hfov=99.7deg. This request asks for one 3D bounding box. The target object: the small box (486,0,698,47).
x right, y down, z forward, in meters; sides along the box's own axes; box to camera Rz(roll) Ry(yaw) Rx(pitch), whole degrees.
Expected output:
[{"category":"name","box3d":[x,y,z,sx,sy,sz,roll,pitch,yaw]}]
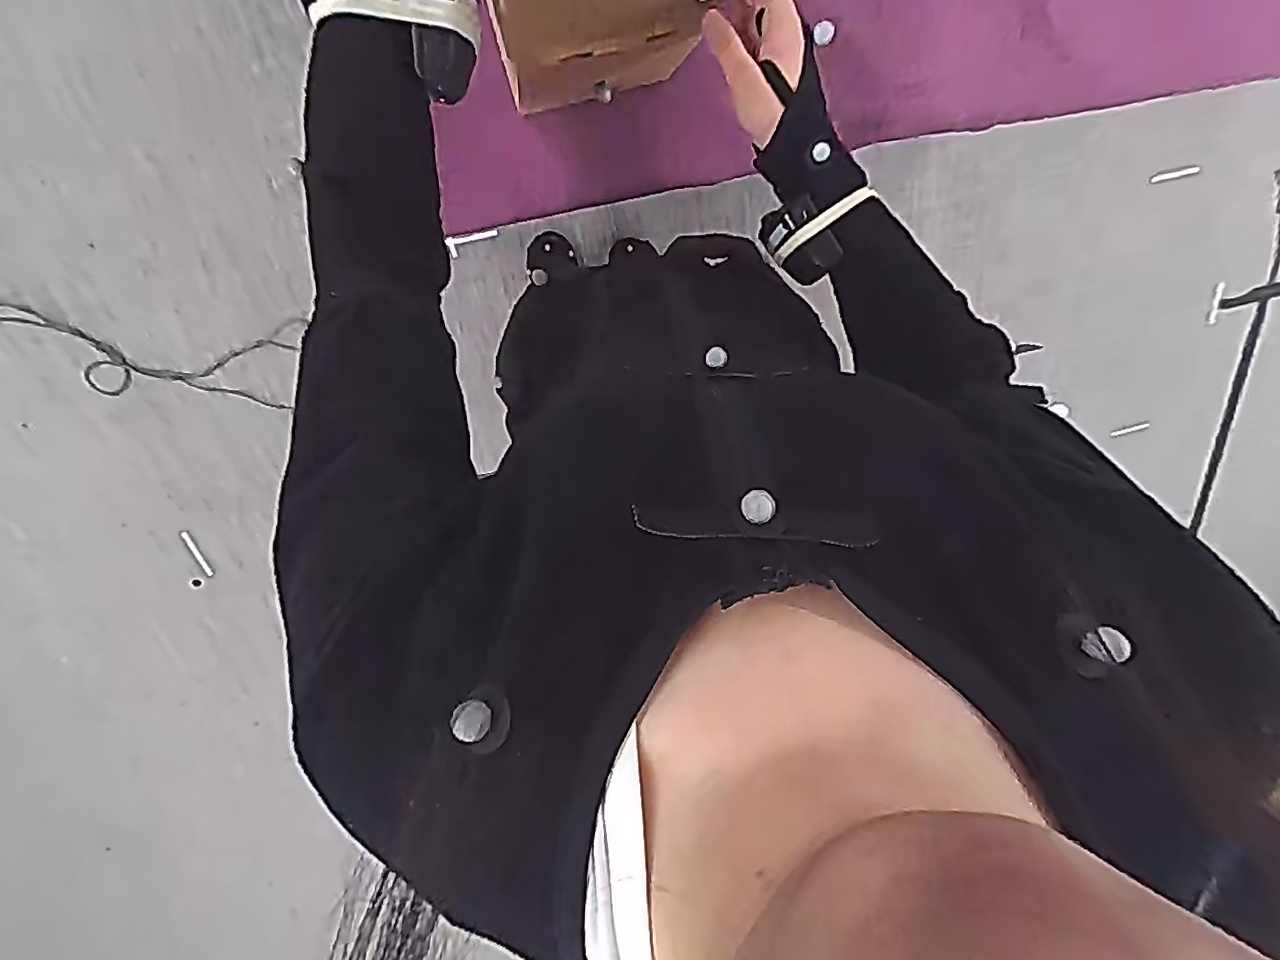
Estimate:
[{"category":"small box","box3d":[-0.025,-0.395,0.318,0.179,0.176,0.168,-17,115,-5]}]

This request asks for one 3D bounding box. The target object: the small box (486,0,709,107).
[{"category":"small box","box3d":[-0.056,-0.456,0.465,0.168,0.176,0.179,-17,116,-5]}]
